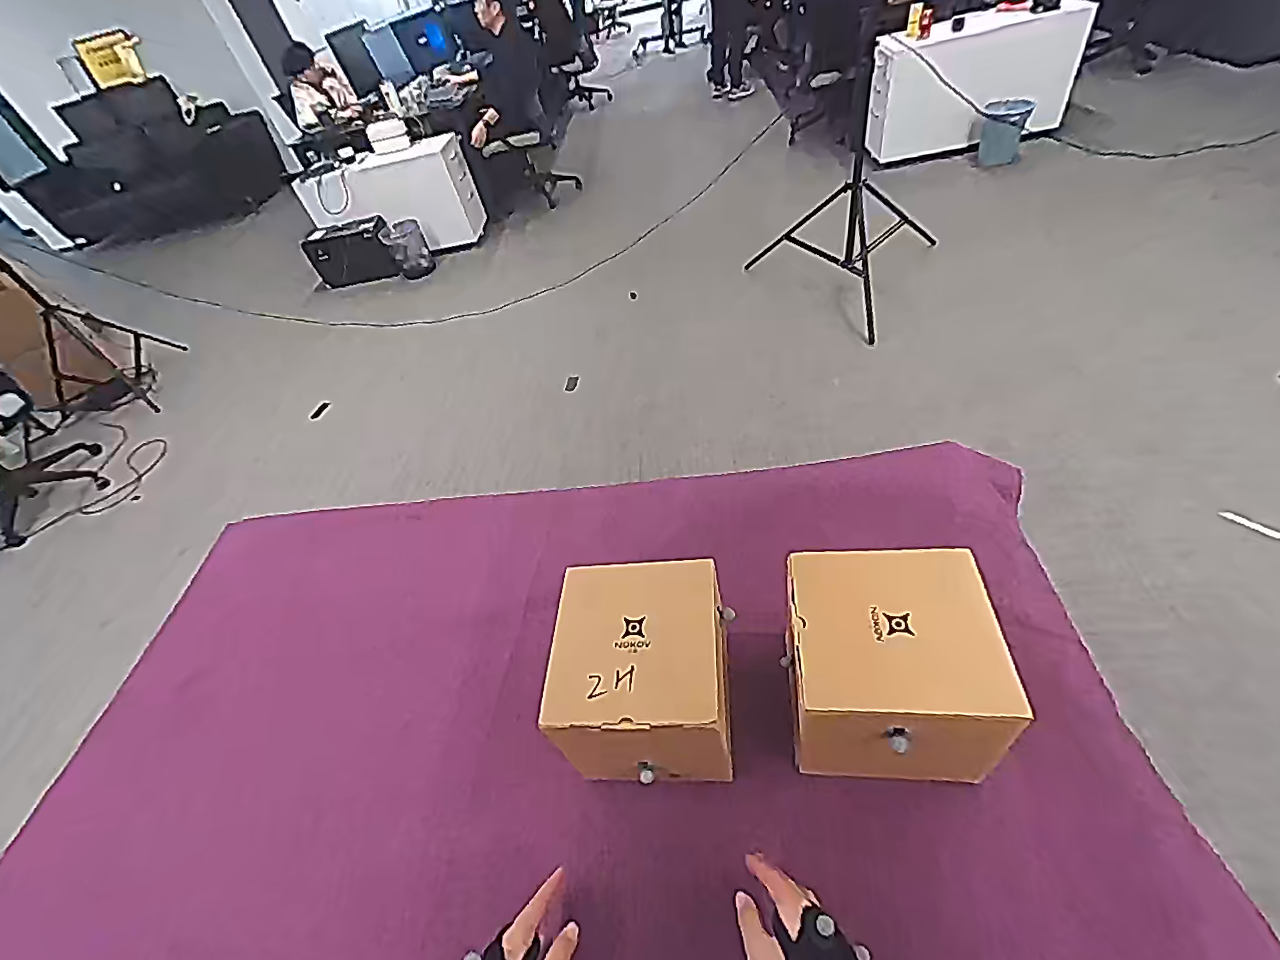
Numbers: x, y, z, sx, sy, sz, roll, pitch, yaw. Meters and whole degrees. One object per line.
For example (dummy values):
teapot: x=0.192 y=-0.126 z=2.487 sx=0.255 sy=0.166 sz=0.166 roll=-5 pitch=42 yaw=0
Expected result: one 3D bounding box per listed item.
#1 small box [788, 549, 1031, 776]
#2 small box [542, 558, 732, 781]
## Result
small box: x=0.247 y=0.187 z=0.551 sx=0.179 sy=0.176 sz=0.168 roll=-4 pitch=45 yaw=12
small box: x=0.010 y=0.207 z=0.591 sx=0.168 sy=0.176 sz=0.179 roll=-5 pitch=46 yaw=11
